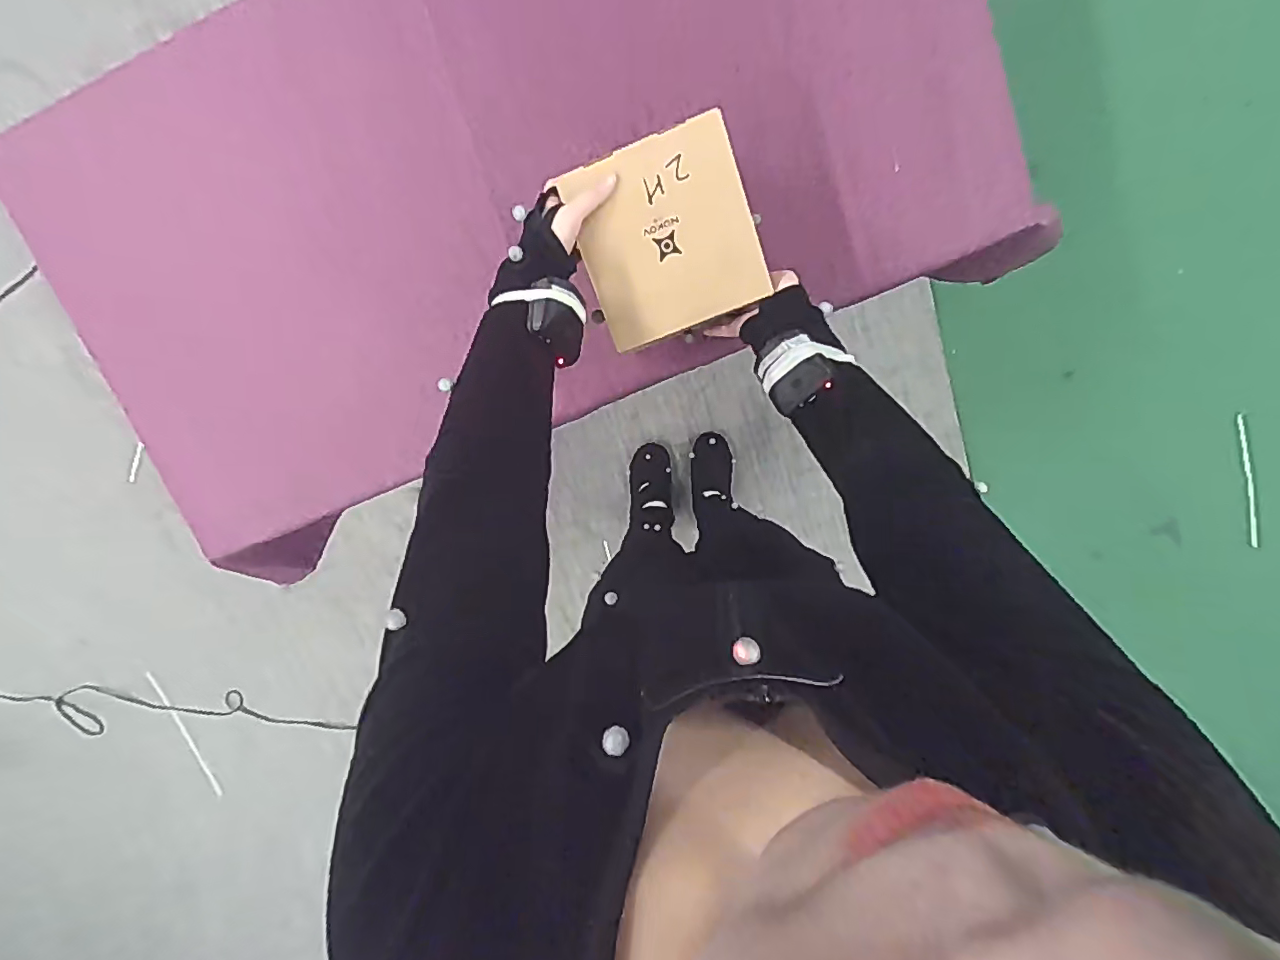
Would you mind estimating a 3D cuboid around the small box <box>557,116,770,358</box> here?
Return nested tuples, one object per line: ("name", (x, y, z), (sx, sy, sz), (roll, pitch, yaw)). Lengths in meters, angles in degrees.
("small box", (0.030, -0.248, 0.596), (0.168, 0.176, 0.179), (-19, 102, 7))
